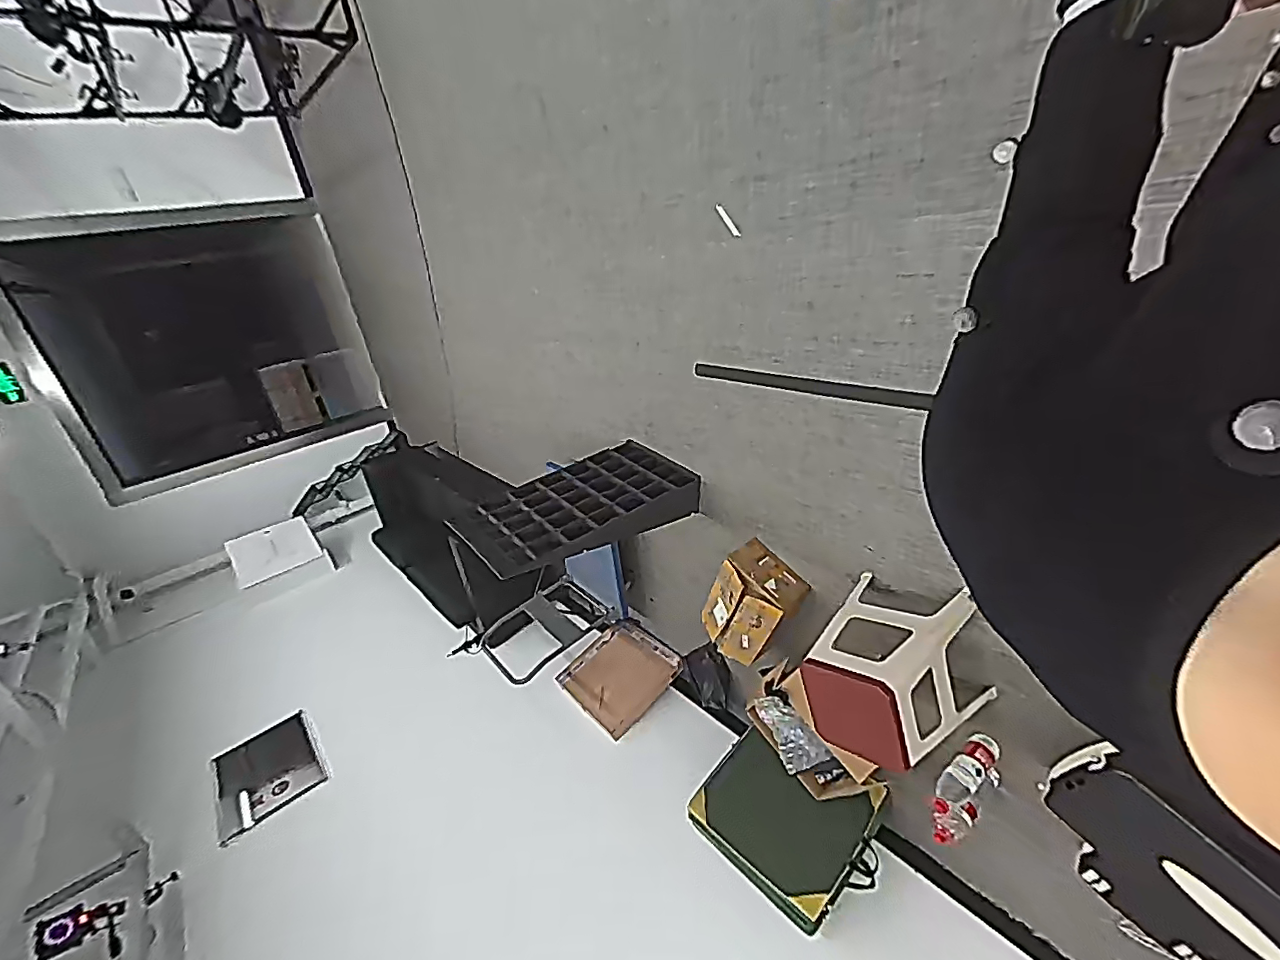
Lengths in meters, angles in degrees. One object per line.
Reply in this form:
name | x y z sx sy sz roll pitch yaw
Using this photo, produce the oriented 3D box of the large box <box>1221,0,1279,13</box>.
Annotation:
large box | 0.552 -0.482 0.226 0.408 0.320 0.320 17 127 47
